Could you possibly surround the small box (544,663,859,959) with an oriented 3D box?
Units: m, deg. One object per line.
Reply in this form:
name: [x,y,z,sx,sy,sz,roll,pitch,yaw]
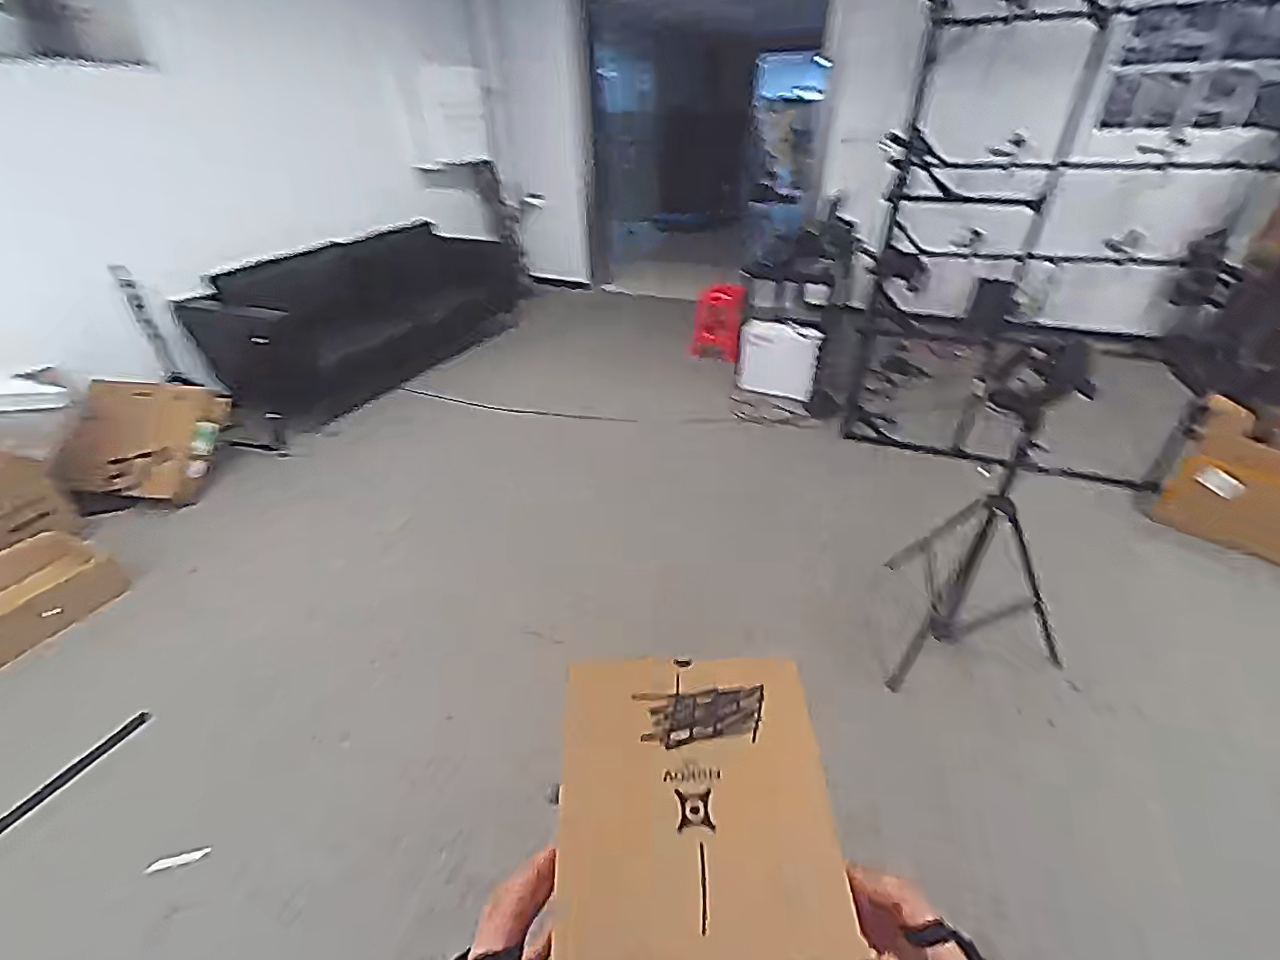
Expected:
small box: [0.023,0.251,0.384,0.168,0.176,0.179,0,46,-5]
